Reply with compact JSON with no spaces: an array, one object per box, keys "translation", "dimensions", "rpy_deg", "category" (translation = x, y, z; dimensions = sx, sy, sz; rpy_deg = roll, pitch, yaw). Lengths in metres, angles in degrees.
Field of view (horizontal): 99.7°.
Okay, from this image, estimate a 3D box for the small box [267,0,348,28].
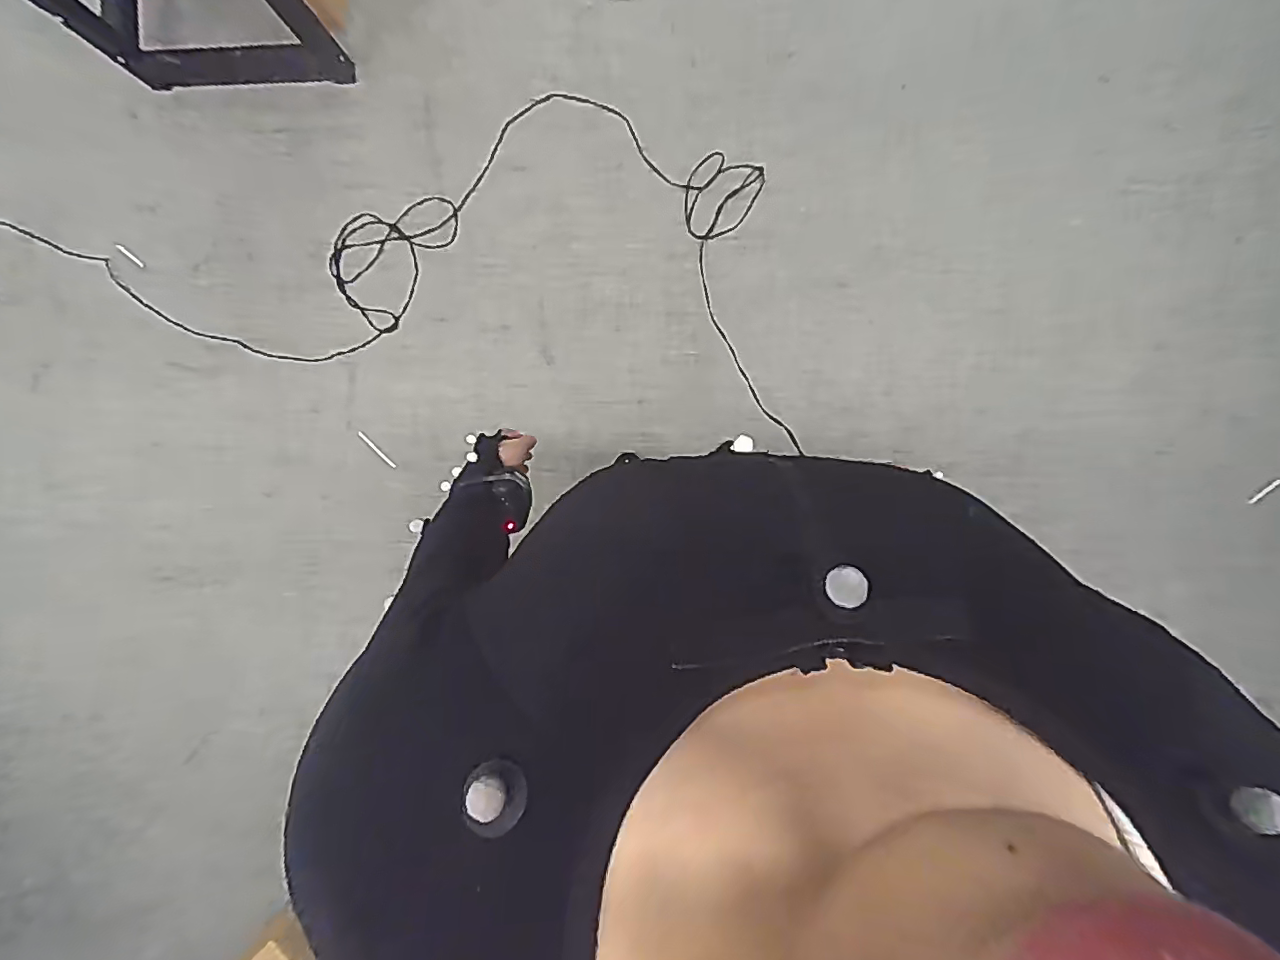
[{"translation":[-0.868,-1.304,1.381],"dimensions":[0.179,0.176,0.168],"rpy_deg":[5,93,2],"category":"small box"}]
